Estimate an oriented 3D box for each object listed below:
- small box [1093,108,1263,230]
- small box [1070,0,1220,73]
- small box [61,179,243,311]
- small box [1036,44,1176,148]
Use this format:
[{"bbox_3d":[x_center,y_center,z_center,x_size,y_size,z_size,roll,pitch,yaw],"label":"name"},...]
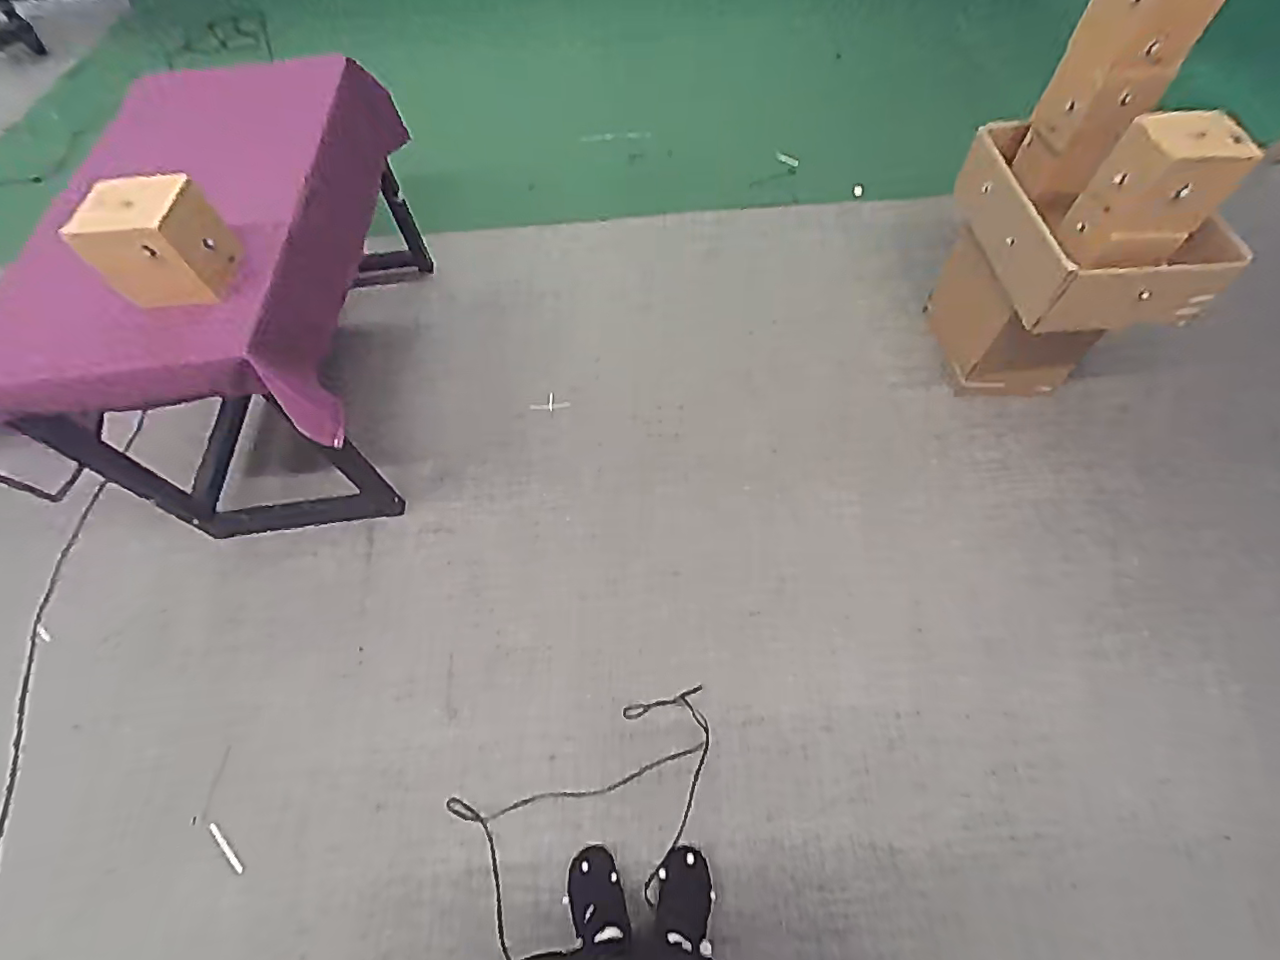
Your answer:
[{"bbox_3d":[1.124,-0.657,1.155,0.179,0.176,0.168,-1,61,3],"label":"small box"},{"bbox_3d":[1.106,-1.031,1.185,0.168,0.176,0.179,-8,61,-1],"label":"small box"},{"bbox_3d":[-0.930,-0.453,1.054,0.179,0.176,0.168,-5,59,1],"label":"small box"},{"bbox_3d":[1.115,-0.938,1.319,0.179,0.176,0.168,-6,60,-1],"label":"small box"}]
